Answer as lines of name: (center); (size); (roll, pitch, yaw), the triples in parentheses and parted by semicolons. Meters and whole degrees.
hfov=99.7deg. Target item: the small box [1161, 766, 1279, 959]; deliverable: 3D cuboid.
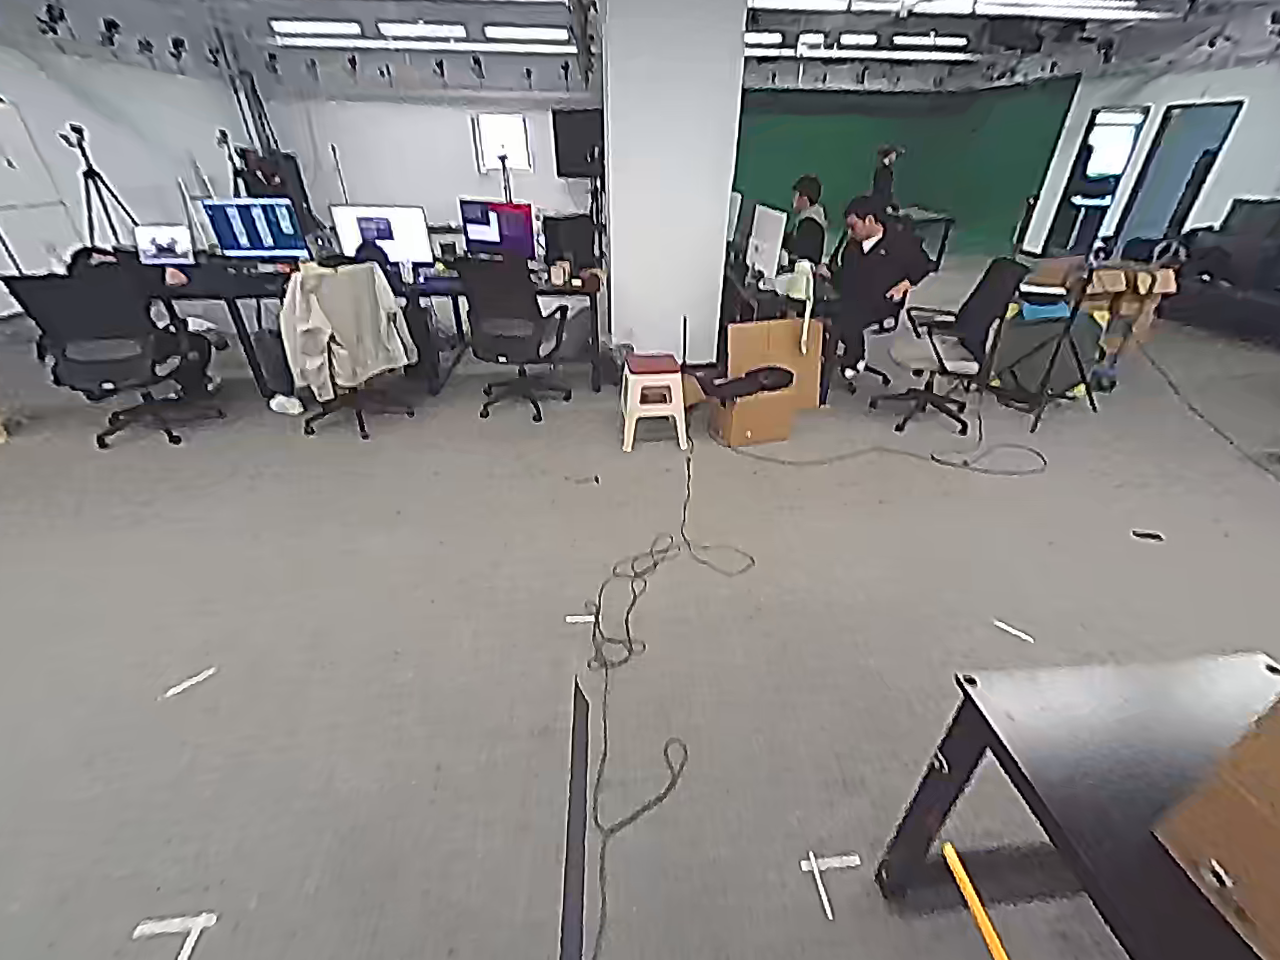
small box: (0.803, 0.460, 0.648); (0.179, 0.176, 0.168); (-5, 31, -7)

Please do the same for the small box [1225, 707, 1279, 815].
small box: (0.801, 0.318, 0.564); (0.168, 0.176, 0.179); (-4, 32, -8)
